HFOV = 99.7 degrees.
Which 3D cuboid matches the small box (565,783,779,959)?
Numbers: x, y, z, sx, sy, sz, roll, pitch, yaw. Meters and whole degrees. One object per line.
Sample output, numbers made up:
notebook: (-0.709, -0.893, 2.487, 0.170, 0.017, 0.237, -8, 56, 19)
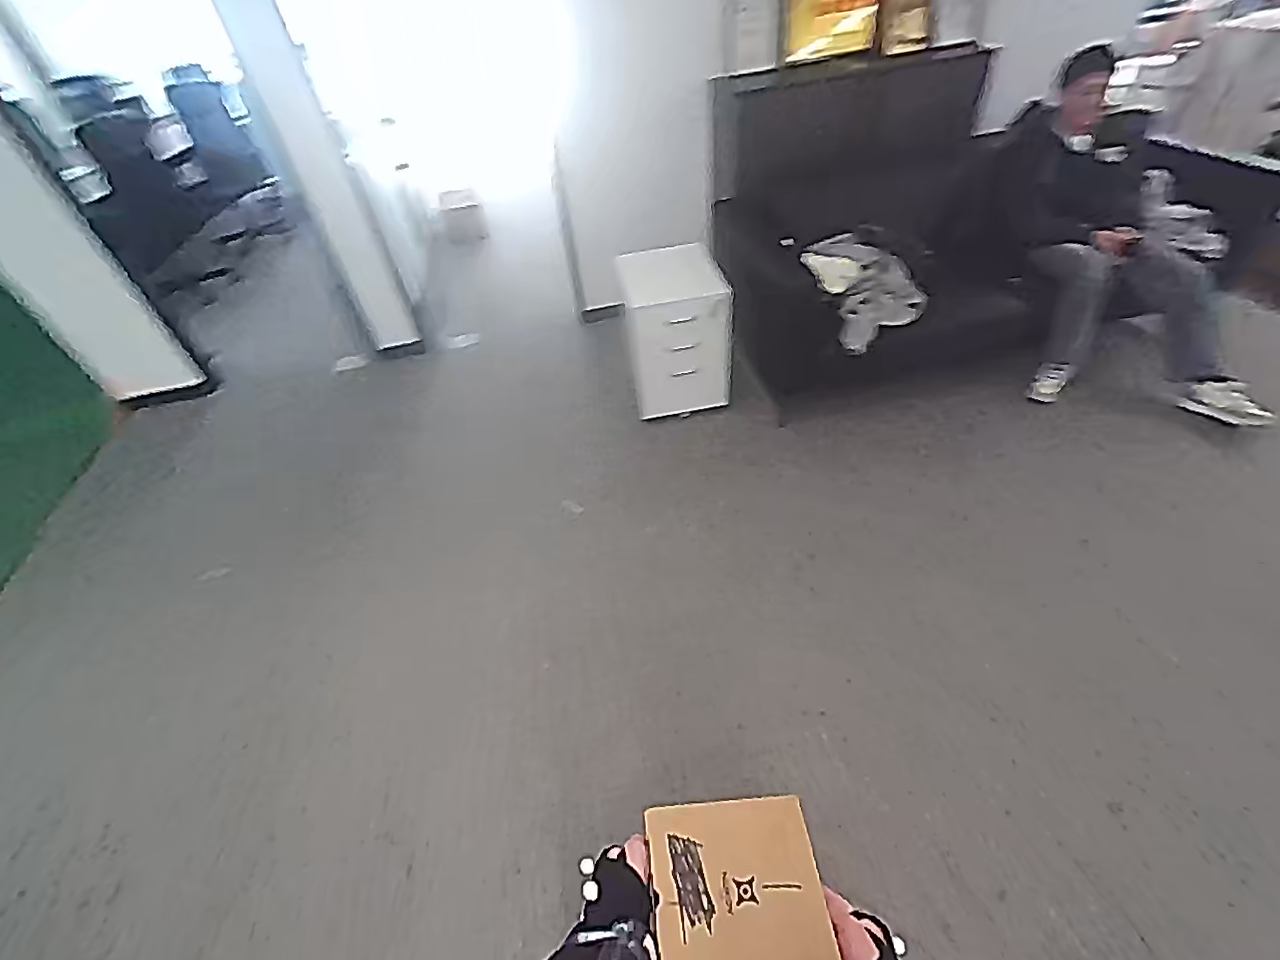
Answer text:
small box: (0.033, 0.465, 0.587, 0.179, 0.176, 0.168, -10, 1, -24)
